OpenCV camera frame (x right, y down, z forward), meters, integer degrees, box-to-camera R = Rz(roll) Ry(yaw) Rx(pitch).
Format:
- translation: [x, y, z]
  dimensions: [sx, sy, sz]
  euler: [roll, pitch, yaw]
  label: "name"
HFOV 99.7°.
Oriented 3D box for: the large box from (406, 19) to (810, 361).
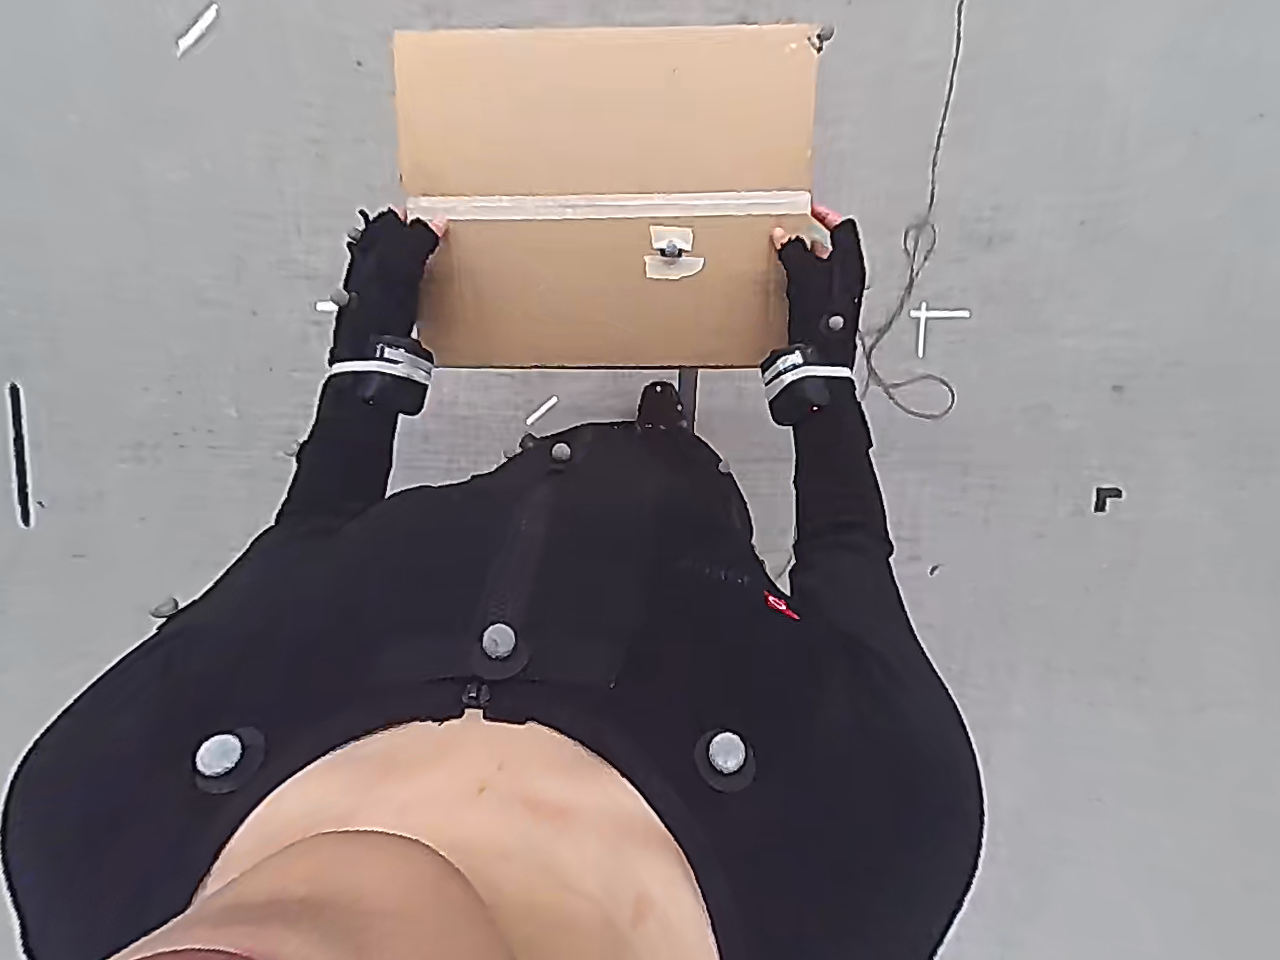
- translation: [-0.029, -0.320, 0.701]
  dimensions: [0.408, 0.320, 0.320]
  euler: [-1, 102, 1]
  label: "large box"
